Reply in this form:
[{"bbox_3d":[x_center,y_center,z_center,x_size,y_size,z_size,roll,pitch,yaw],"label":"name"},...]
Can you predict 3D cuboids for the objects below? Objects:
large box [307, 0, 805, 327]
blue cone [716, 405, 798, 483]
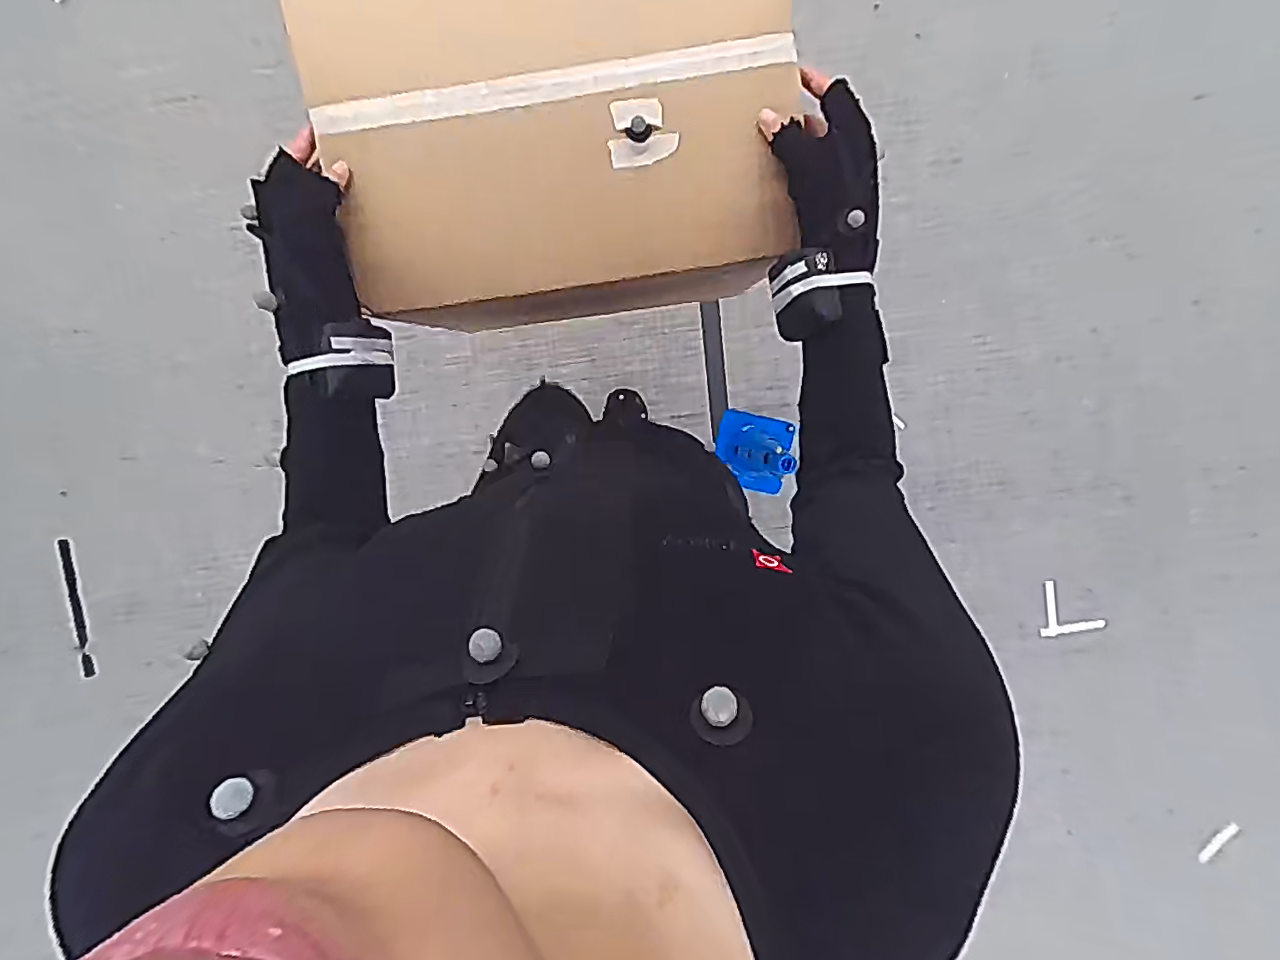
[{"bbox_3d":[-0.071,-0.367,0.606,0.408,0.320,0.320,-8,102,1],"label":"large box"},{"bbox_3d":[0.308,-0.077,1.292,0.193,0.380,0.192,14,96,-1],"label":"blue cone"}]
